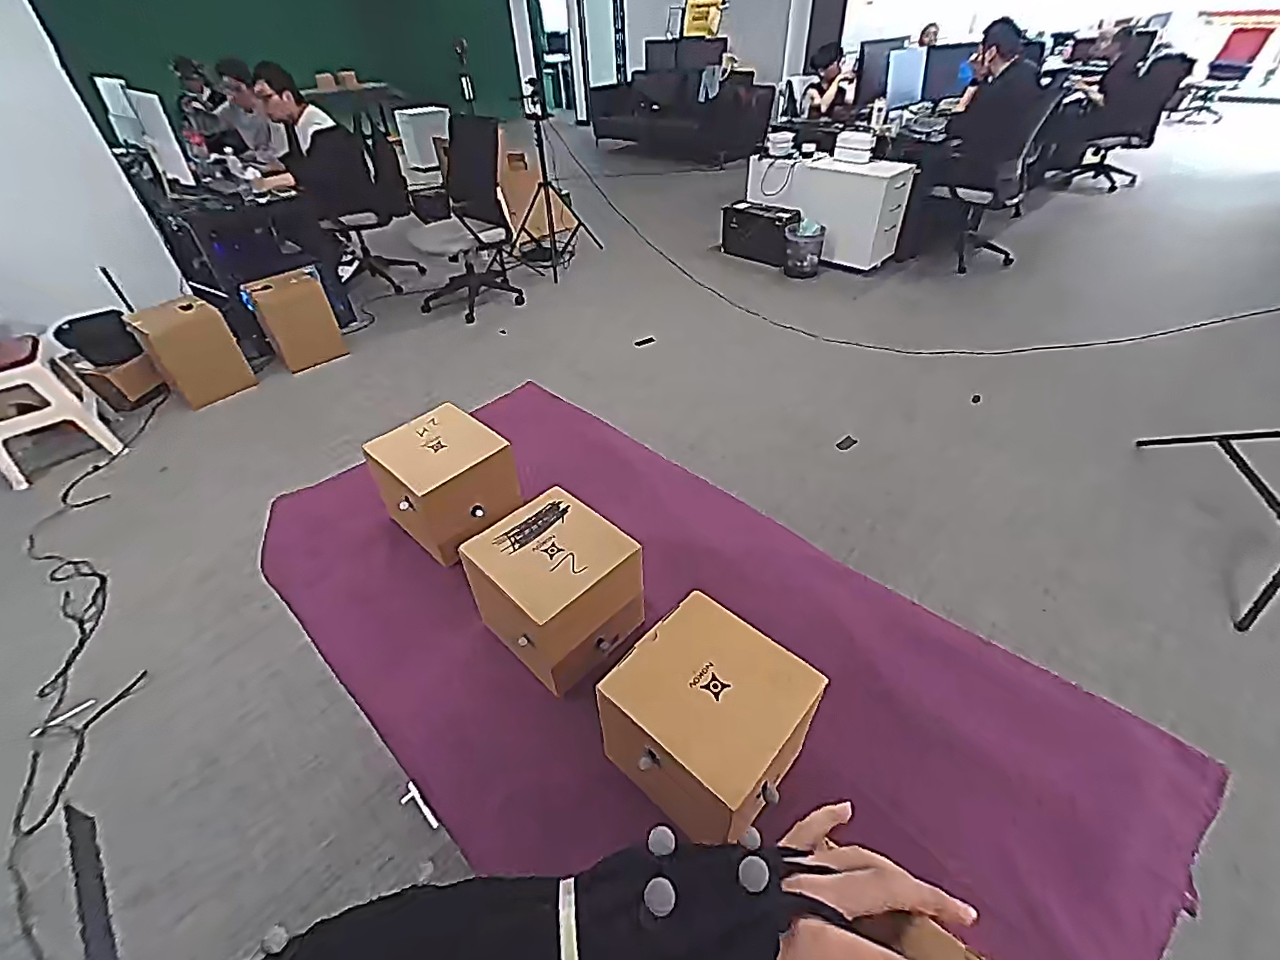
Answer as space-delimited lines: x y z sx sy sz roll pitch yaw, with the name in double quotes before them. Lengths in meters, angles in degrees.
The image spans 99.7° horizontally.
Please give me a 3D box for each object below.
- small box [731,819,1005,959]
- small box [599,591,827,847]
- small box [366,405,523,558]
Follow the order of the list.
"small box" 0.149 0.339 0.288 0.179 0.168 0.176 43 72 -7
"small box" 0.077 0.267 0.603 0.179 0.176 0.168 30 50 32
"small box" -0.320 0.007 0.916 0.179 0.176 0.168 31 51 30
